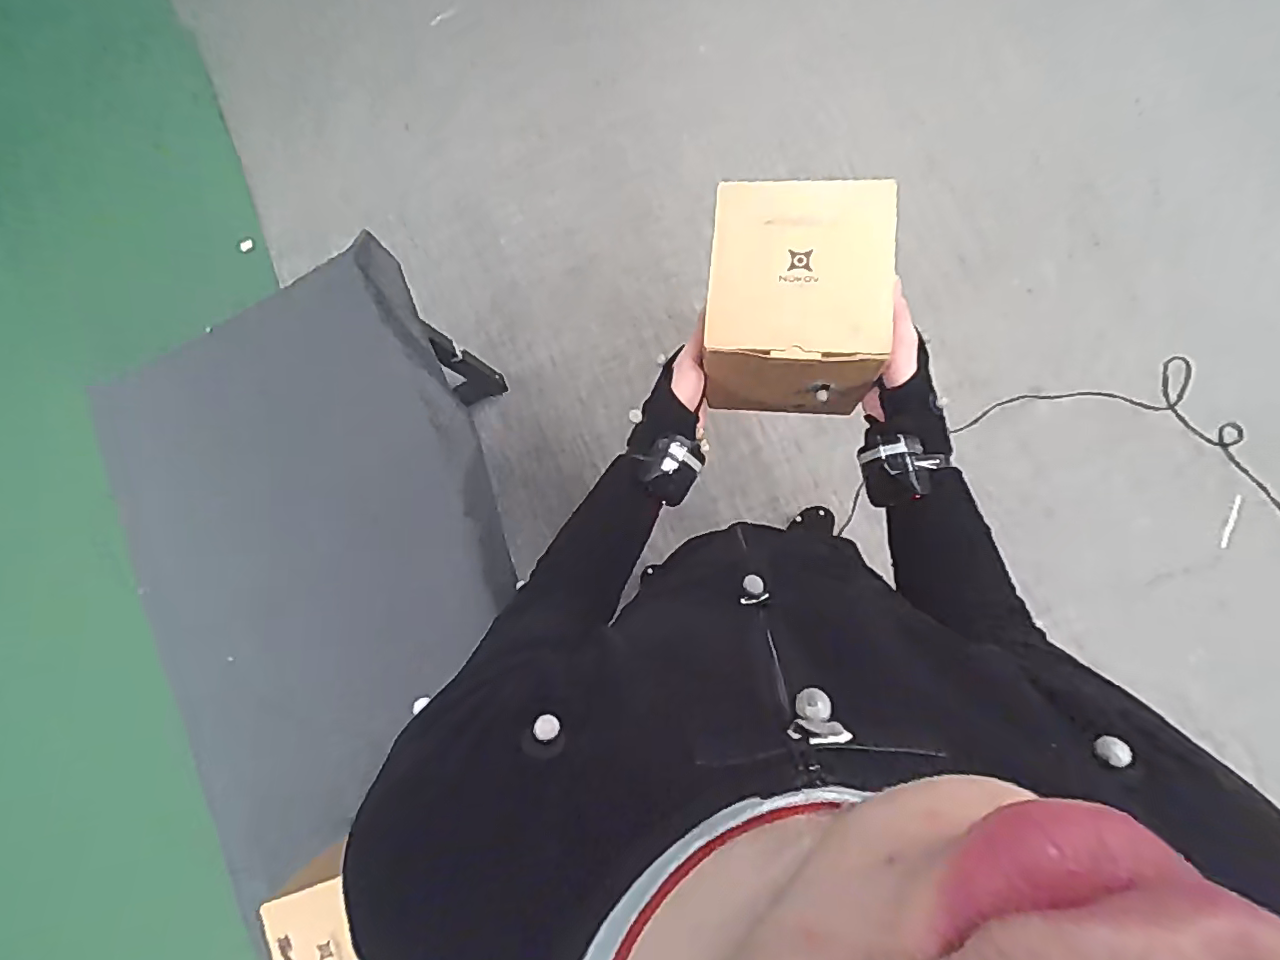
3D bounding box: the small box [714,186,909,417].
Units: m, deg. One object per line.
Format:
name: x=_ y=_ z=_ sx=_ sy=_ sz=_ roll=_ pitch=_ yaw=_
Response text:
small box: x=0.168 y=-0.175 z=0.570 sx=0.168 sy=0.176 sz=0.179 roll=5 pitch=78 yaw=8
